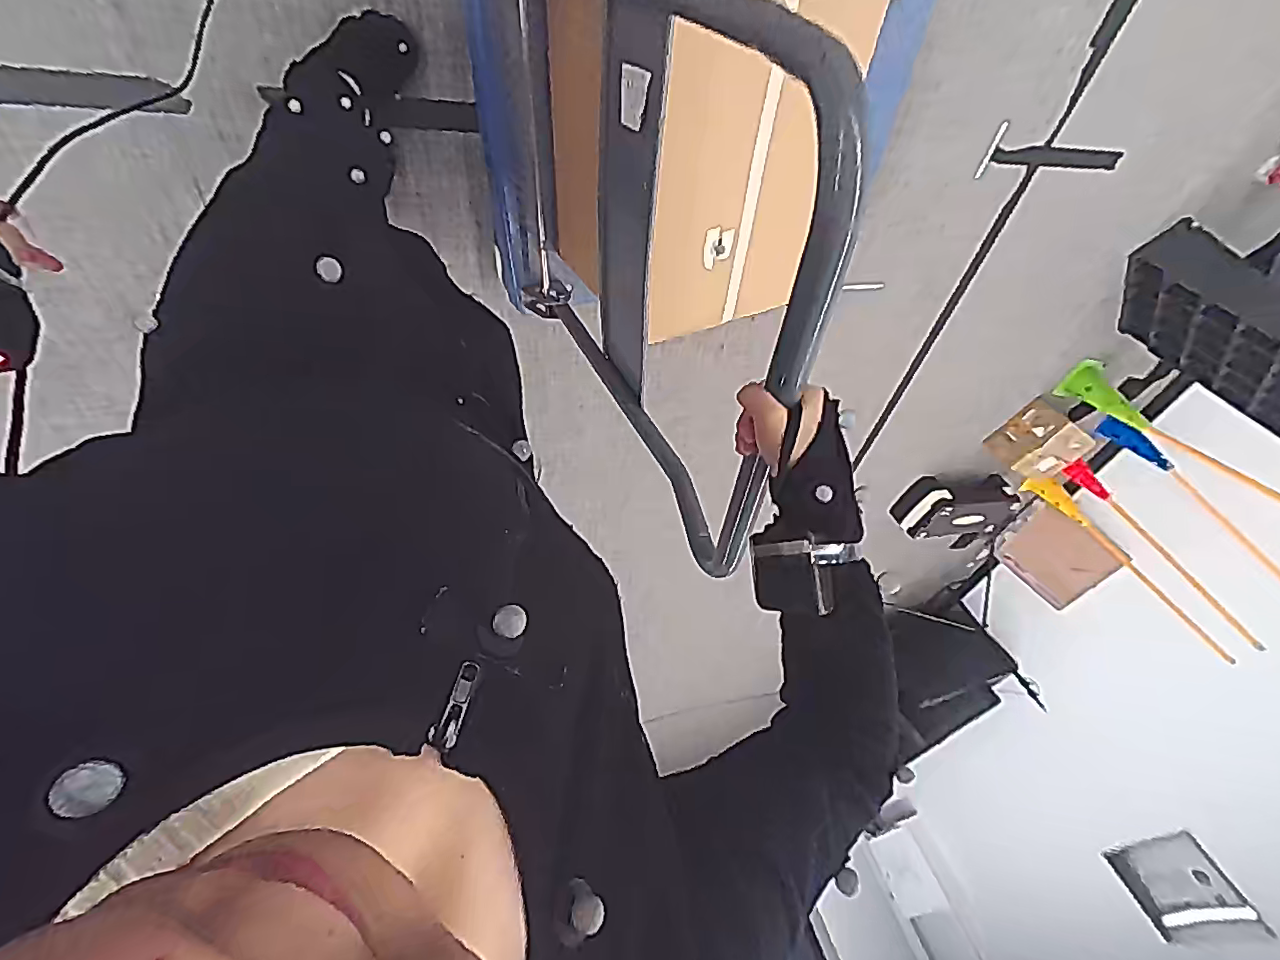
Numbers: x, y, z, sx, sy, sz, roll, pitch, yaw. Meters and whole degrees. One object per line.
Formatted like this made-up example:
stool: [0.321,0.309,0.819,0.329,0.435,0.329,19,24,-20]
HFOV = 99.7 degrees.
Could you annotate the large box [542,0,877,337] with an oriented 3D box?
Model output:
large box: [0.065,-0.497,0.806,0.320,0.320,0.408,-21,144,-21]
